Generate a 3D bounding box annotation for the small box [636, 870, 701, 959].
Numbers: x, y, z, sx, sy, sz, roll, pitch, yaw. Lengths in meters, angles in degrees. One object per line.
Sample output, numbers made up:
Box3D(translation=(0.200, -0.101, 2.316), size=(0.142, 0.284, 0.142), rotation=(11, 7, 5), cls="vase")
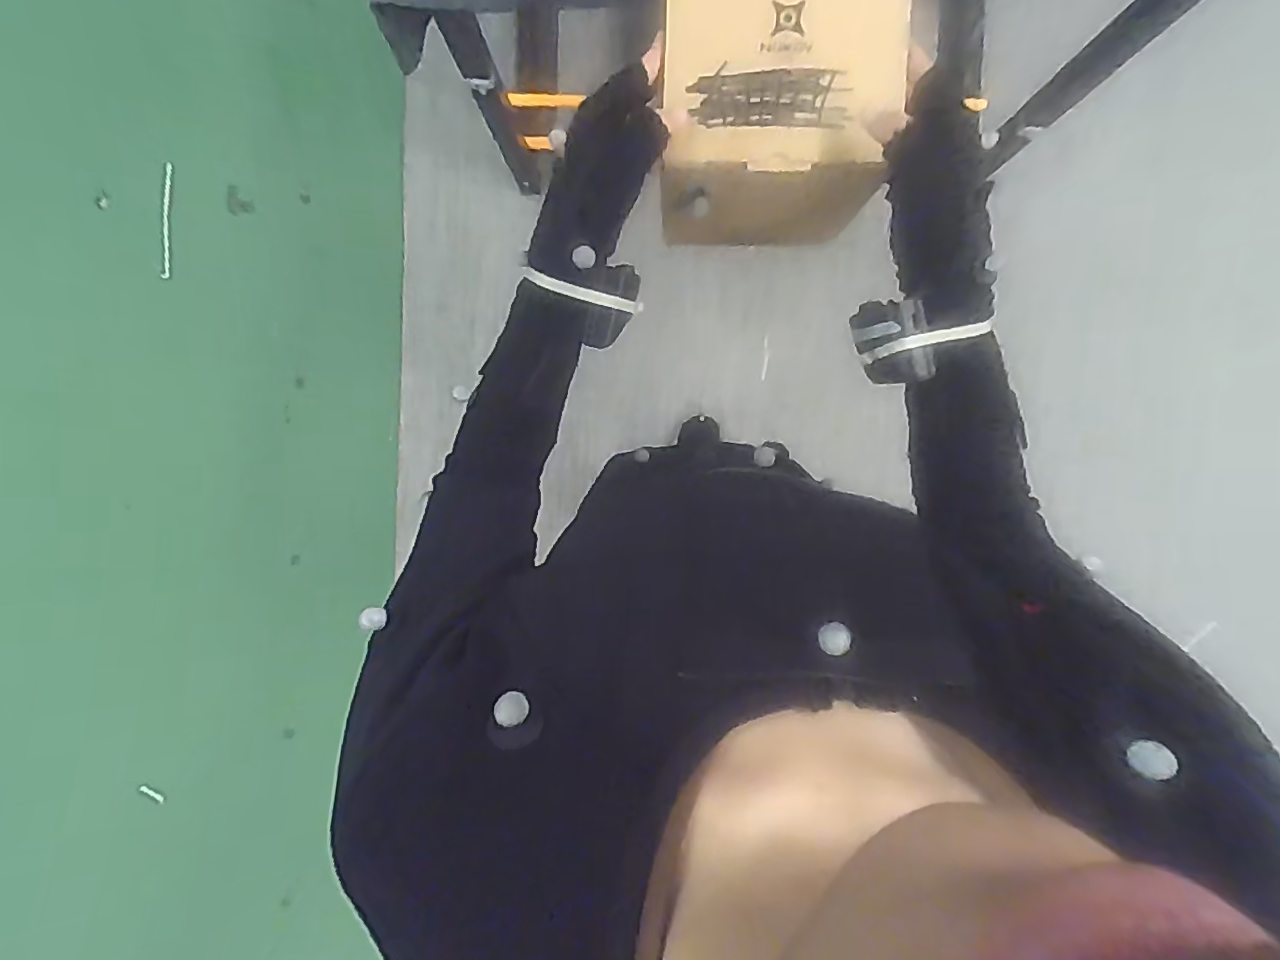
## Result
Box3D(translation=(0.072, 1.176, 1.426), size=(0.168, 0.176, 0.179), rotation=(-1, 90, 0), cls="small box")
